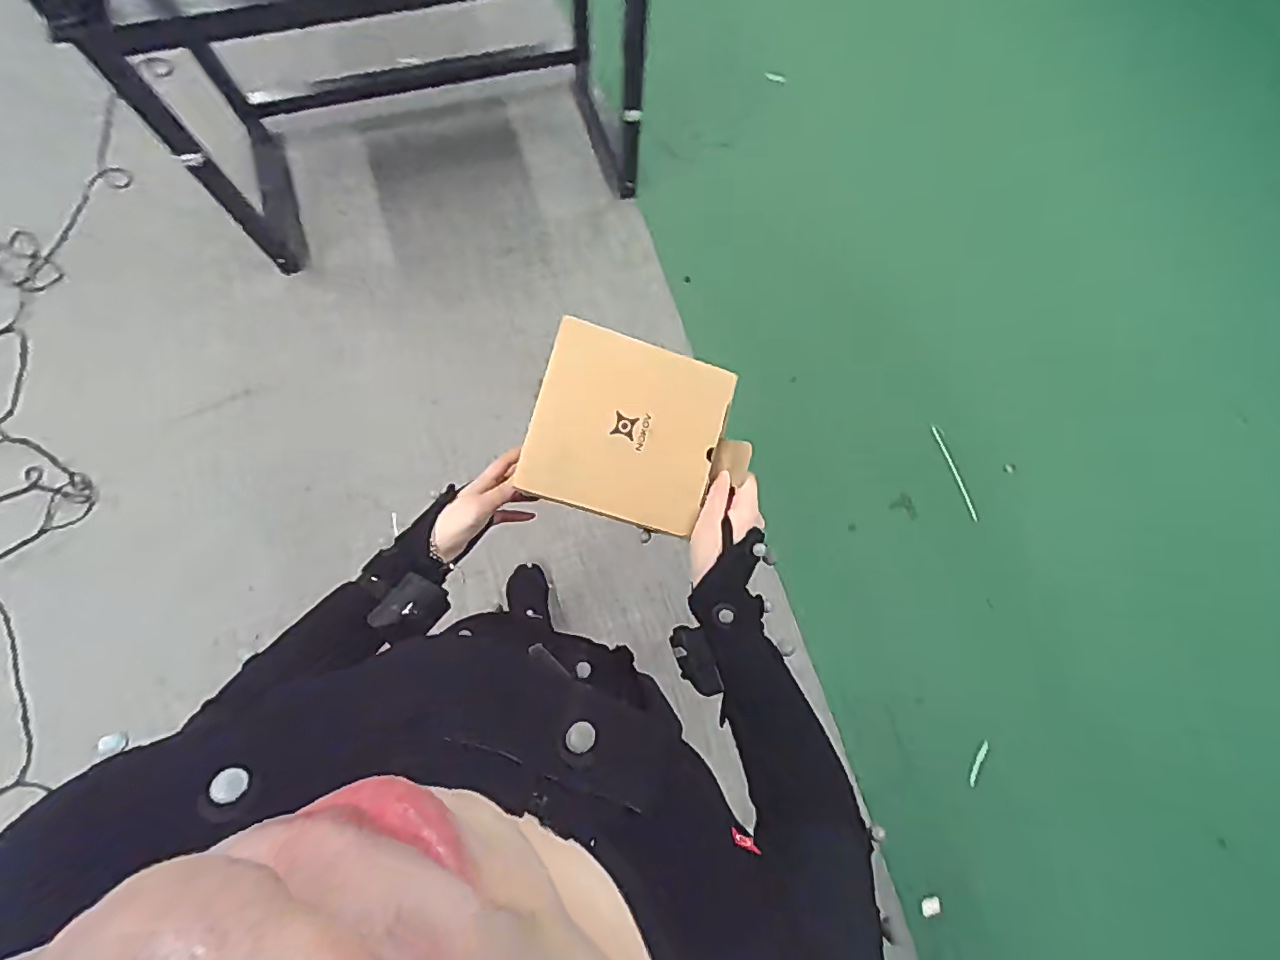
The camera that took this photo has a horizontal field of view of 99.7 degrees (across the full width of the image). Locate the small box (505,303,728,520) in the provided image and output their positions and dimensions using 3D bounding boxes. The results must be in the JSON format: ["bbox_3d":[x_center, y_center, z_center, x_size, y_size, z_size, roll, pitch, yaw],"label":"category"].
[{"bbox_3d":[-0.033,-0.057,0.575,0.179,0.176,0.168,16,84,-10],"label":"small box"}]
